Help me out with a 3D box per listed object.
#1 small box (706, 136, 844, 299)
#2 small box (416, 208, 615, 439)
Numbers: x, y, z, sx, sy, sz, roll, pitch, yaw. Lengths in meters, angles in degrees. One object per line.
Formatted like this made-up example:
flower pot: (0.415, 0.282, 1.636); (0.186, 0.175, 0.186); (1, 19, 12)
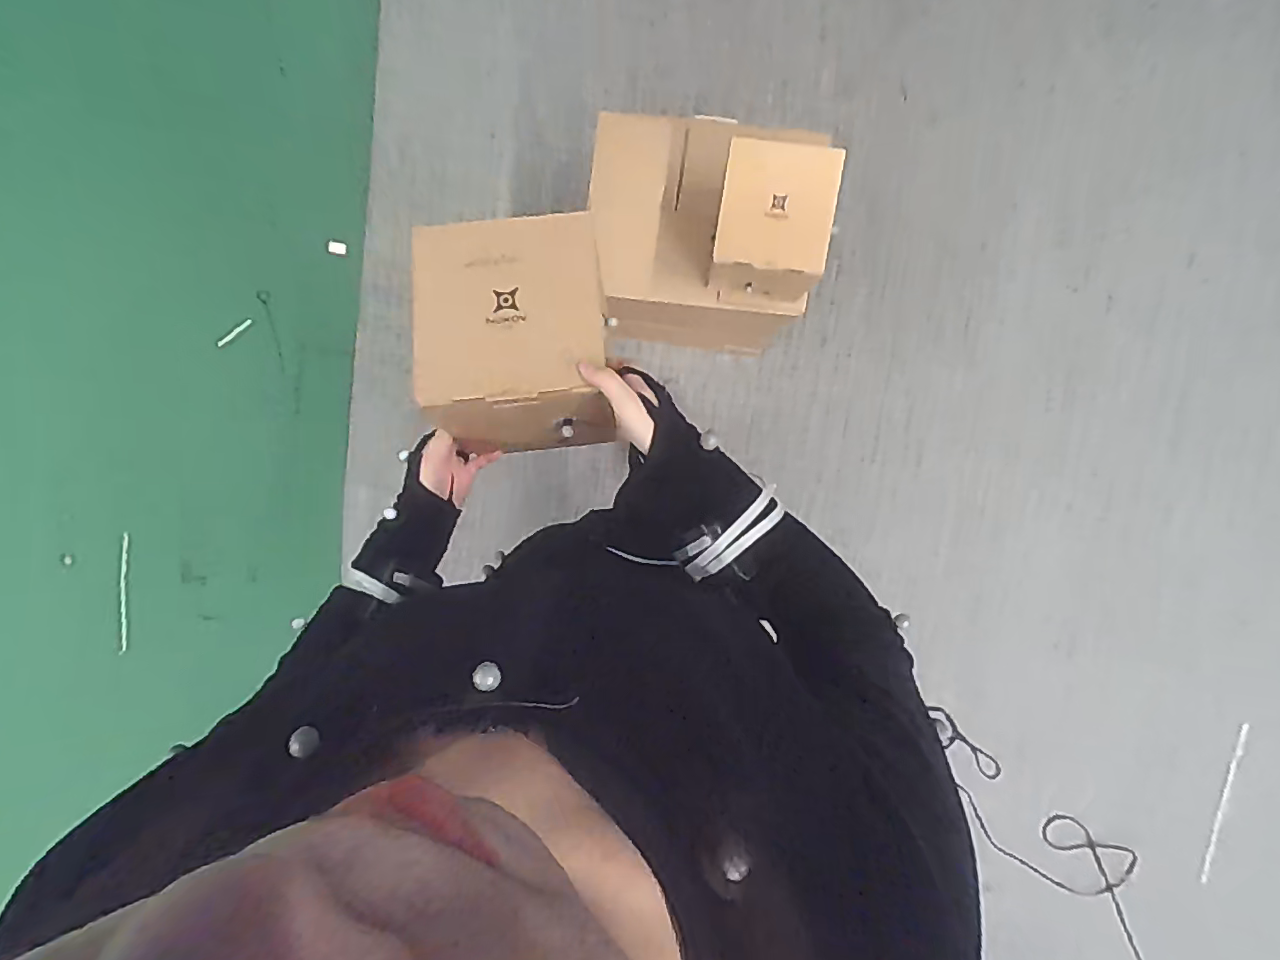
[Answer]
small box: (0.202, -0.405, 0.861); (0.168, 0.176, 0.179); (10, 98, 2)
small box: (-0.115, -0.145, 0.559); (0.168, 0.176, 0.179); (-4, 78, -1)
